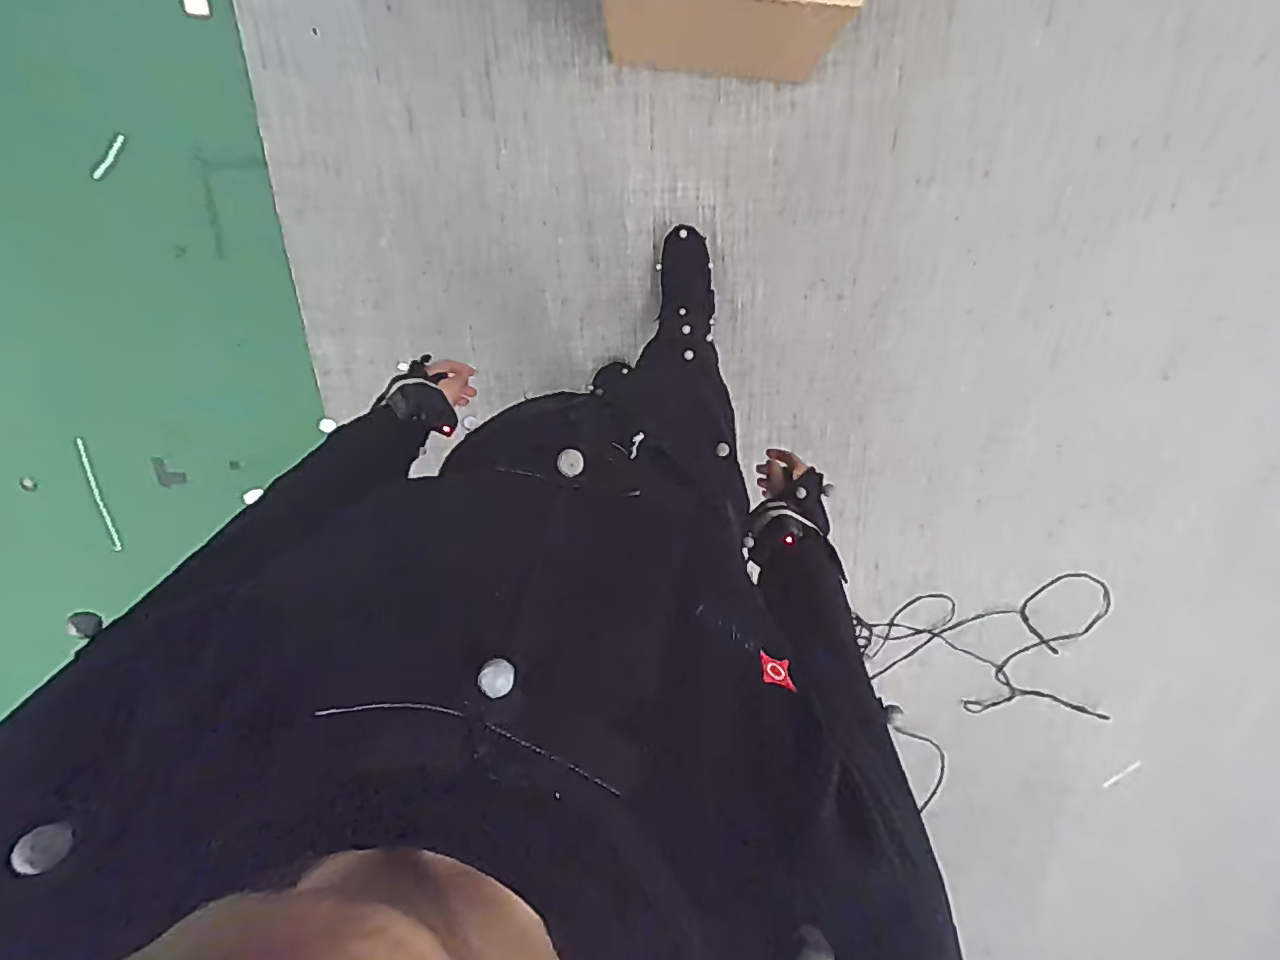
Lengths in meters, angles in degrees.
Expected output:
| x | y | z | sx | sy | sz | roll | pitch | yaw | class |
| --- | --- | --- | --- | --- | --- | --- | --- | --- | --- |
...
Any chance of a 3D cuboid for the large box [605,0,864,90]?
| x | y | z | sx | sy | sz | roll | pitch | yaw | class |
| --- | --- | --- | --- | --- | --- | --- | --- | --- | --- |
| 0.148 | -0.907 | 0.917 | 0.408 | 0.320 | 0.320 | 4 | 109 | -2 | large box |
